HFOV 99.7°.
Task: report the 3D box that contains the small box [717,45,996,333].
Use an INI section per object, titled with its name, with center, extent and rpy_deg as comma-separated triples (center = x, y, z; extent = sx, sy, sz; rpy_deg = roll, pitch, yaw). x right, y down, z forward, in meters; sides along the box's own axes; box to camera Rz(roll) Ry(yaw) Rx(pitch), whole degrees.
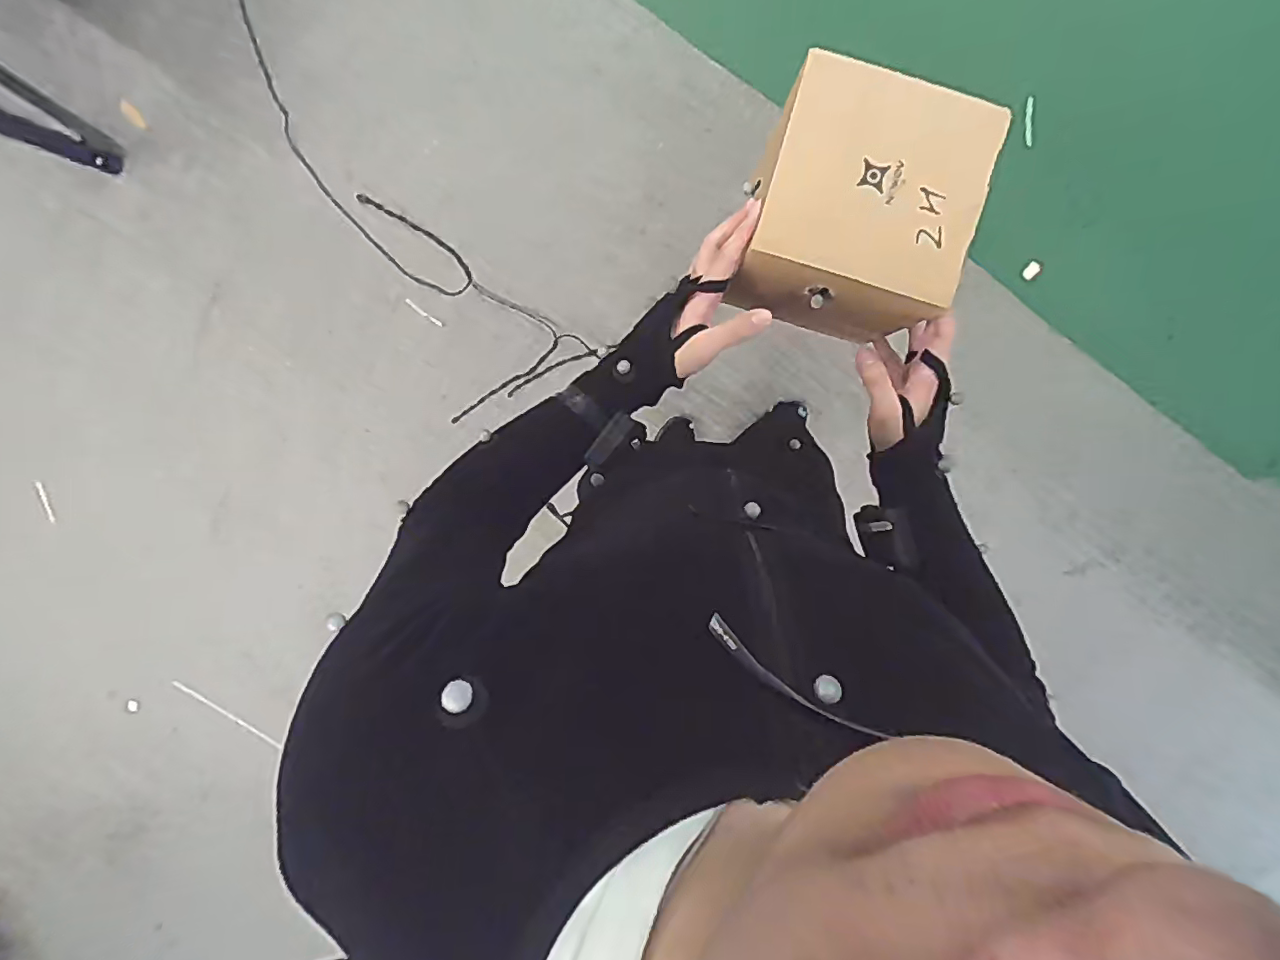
[small box]
center = 0.185, -0.255, 0.522
extent = 0.179, 0.176, 0.168
rpy_deg = 16, 93, -2
